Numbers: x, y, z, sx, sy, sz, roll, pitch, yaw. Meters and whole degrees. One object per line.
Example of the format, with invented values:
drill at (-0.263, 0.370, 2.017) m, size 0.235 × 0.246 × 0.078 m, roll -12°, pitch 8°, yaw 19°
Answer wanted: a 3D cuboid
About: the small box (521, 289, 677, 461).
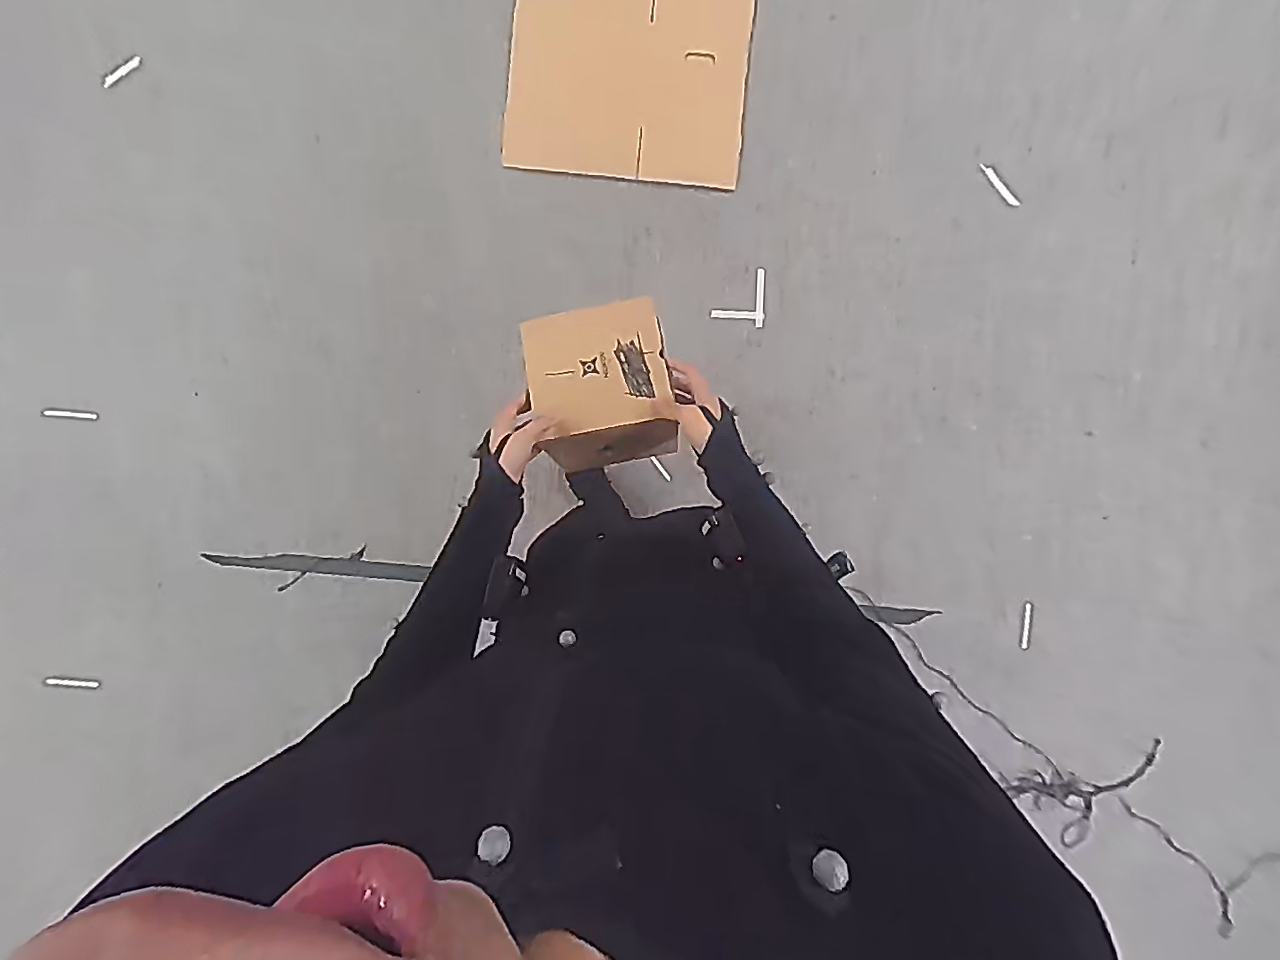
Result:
small box at (-0.048, -0.133, 0.740) m, size 0.179 × 0.176 × 0.168 m, roll -10°, pitch 78°, yaw 3°
